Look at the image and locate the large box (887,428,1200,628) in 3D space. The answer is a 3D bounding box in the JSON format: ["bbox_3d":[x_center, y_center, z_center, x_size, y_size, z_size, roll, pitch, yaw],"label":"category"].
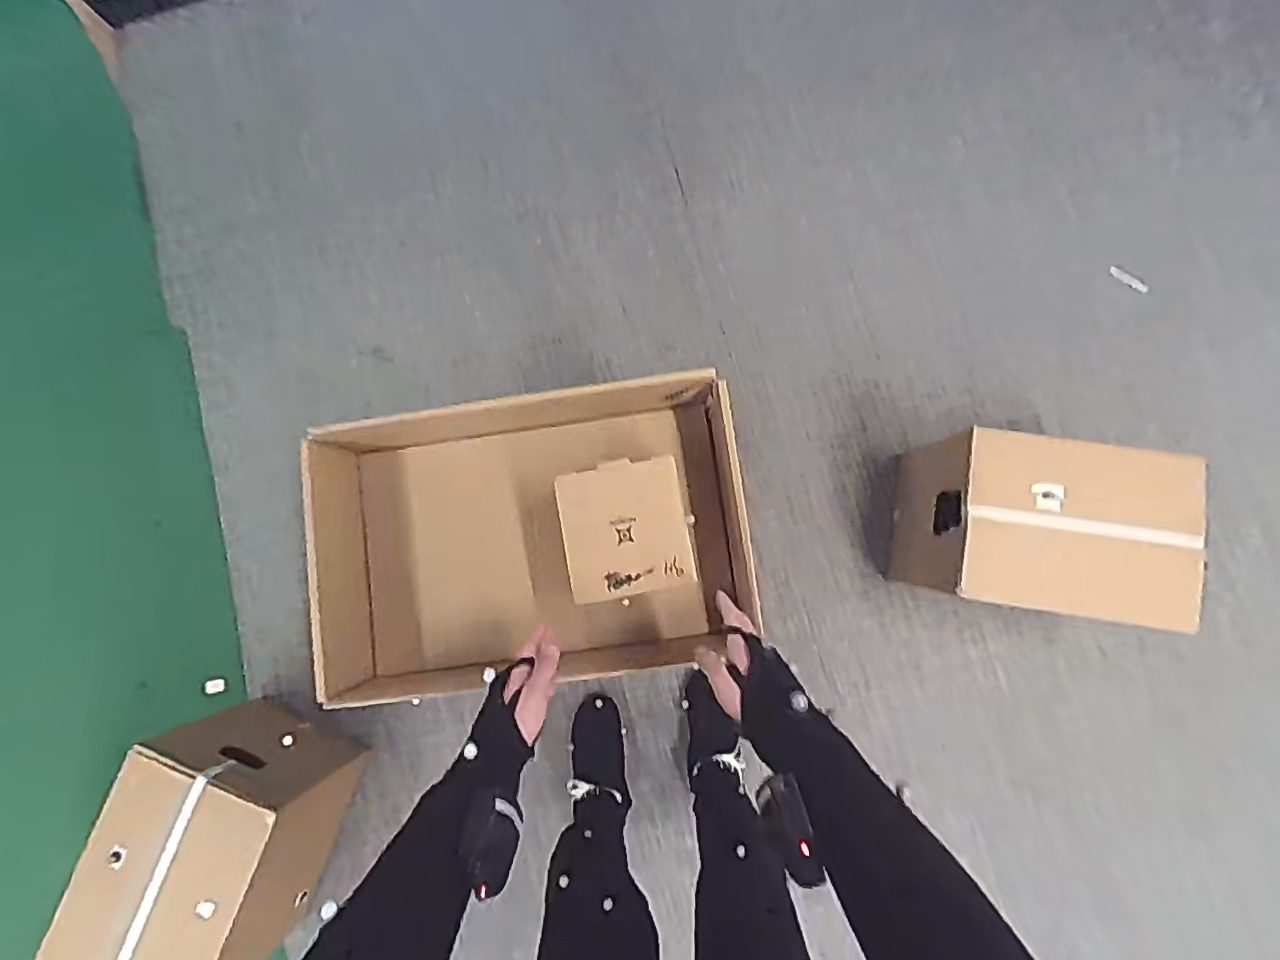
[{"bbox_3d":[0.780,0.094,1.102,0.408,0.320,0.320,8,84,4],"label":"large box"}]
